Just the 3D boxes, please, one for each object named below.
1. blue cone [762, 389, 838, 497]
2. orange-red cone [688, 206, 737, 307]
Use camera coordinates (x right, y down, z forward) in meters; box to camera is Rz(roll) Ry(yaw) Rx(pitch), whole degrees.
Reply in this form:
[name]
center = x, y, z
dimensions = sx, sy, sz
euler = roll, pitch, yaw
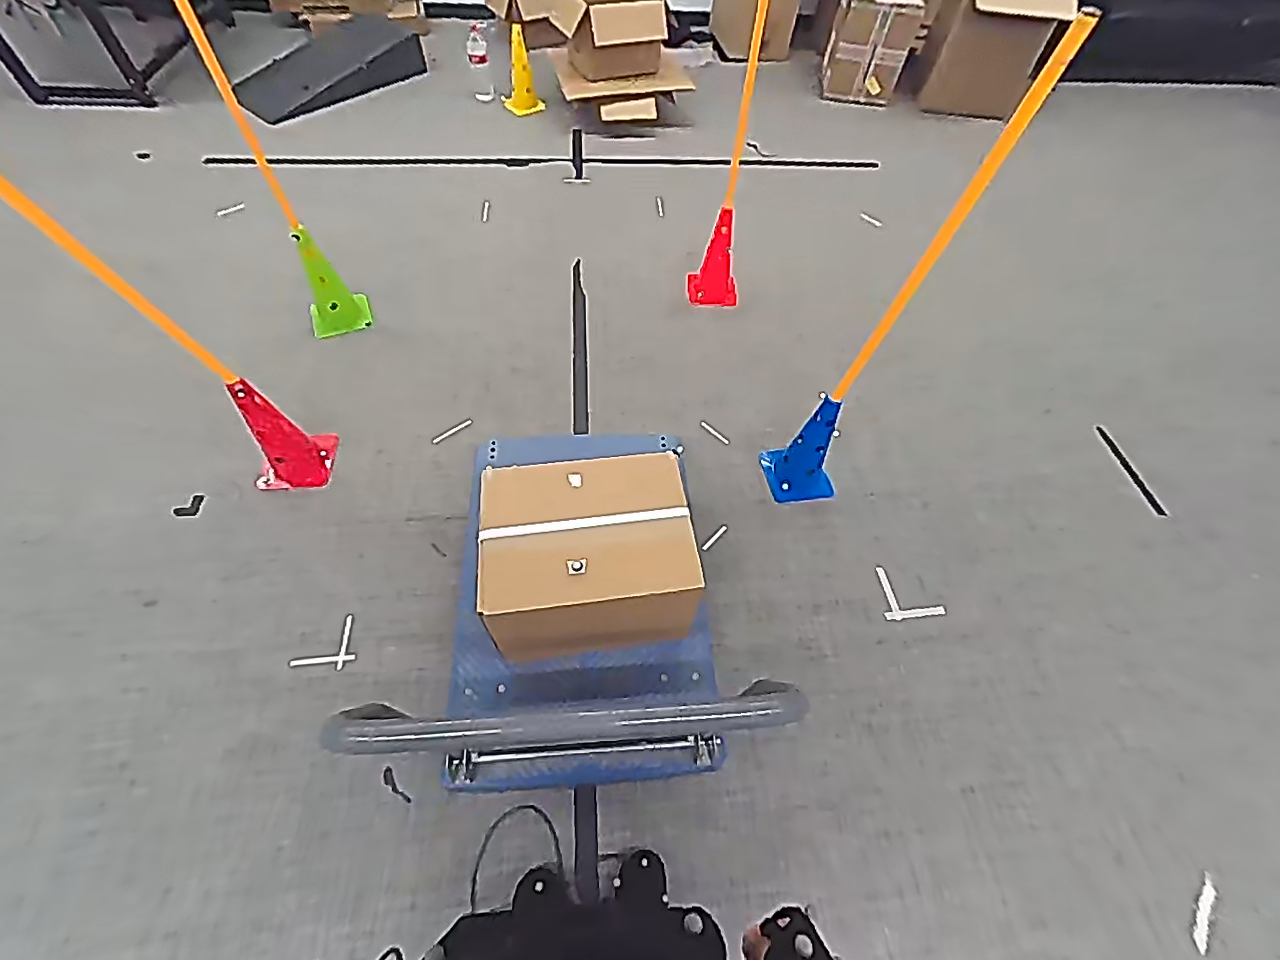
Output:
[blue cone]
center = 0.511, -0.120, 1.605
dimensions = 0.193, 0.380, 0.192
euler = -6, 56, -8
[orange-red cone]
center = 0.309, -0.874, 2.075
dimensions = 0.199, 0.360, 0.198
euler = 4, 57, -2
